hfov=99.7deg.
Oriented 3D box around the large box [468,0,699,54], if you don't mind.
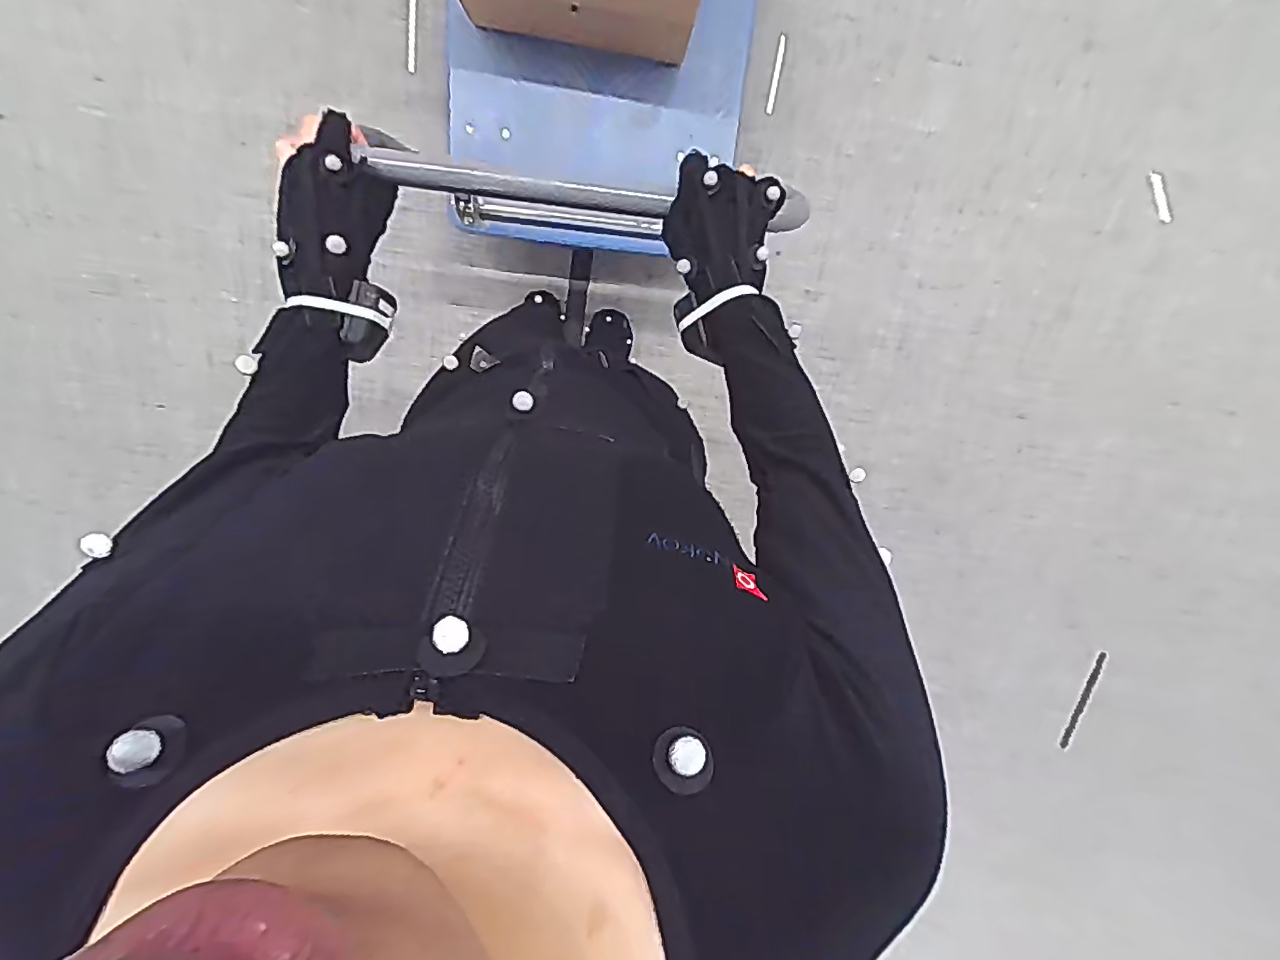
[{"bbox_3d":[-0.088,-0.939,0.854,0.408,0.320,0.320,7,108,-4],"label":"large box"}]
